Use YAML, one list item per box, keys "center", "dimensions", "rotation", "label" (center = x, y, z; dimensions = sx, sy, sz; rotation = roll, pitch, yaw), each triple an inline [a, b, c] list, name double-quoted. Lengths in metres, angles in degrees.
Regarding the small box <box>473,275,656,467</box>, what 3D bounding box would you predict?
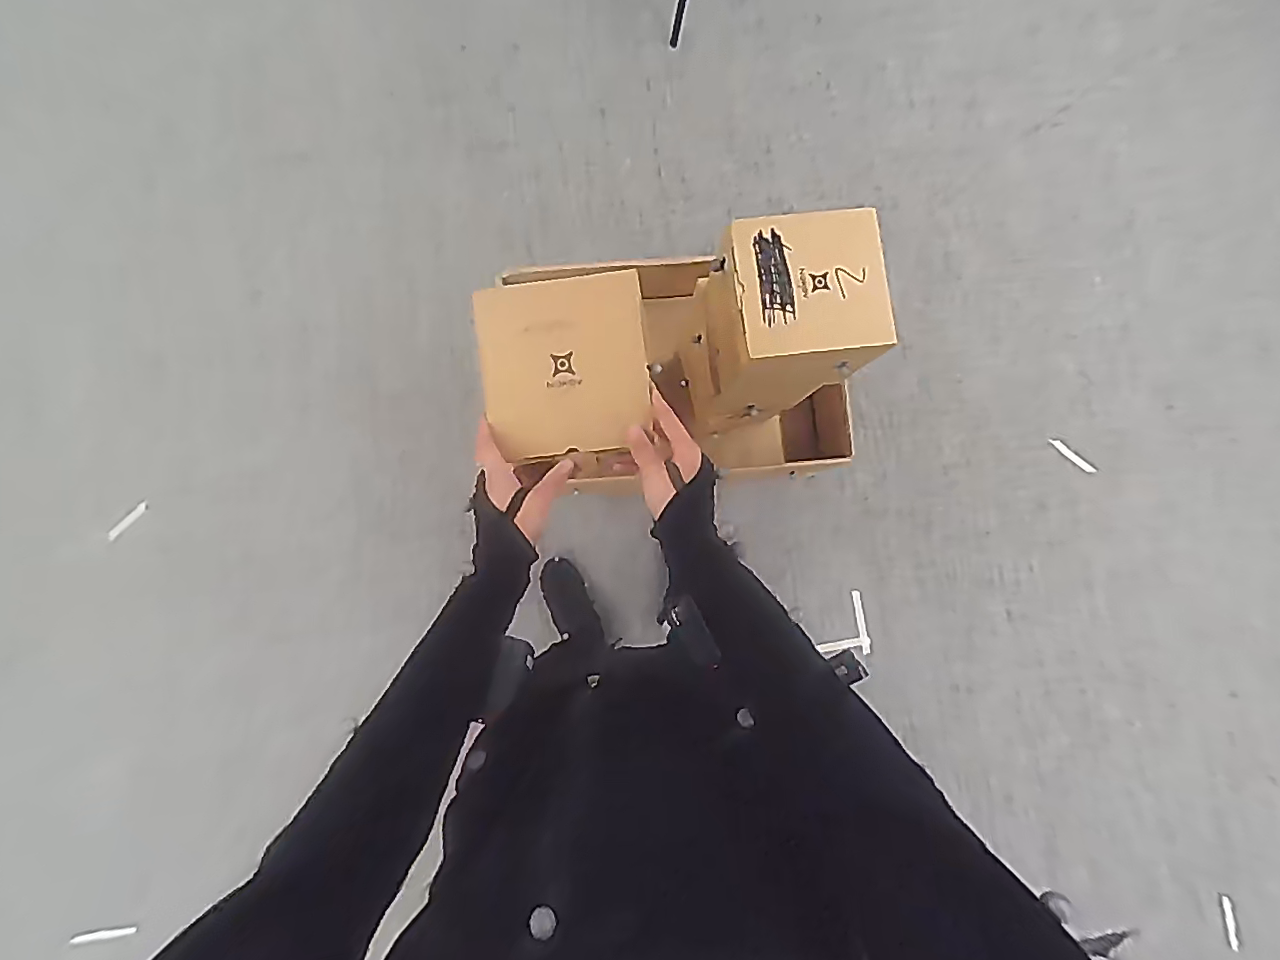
- center: [-0.071, -0.111, 0.611]
  dimensions: [0.168, 0.176, 0.179]
  rotation: [-5, 93, 3]
  label: "small box"
